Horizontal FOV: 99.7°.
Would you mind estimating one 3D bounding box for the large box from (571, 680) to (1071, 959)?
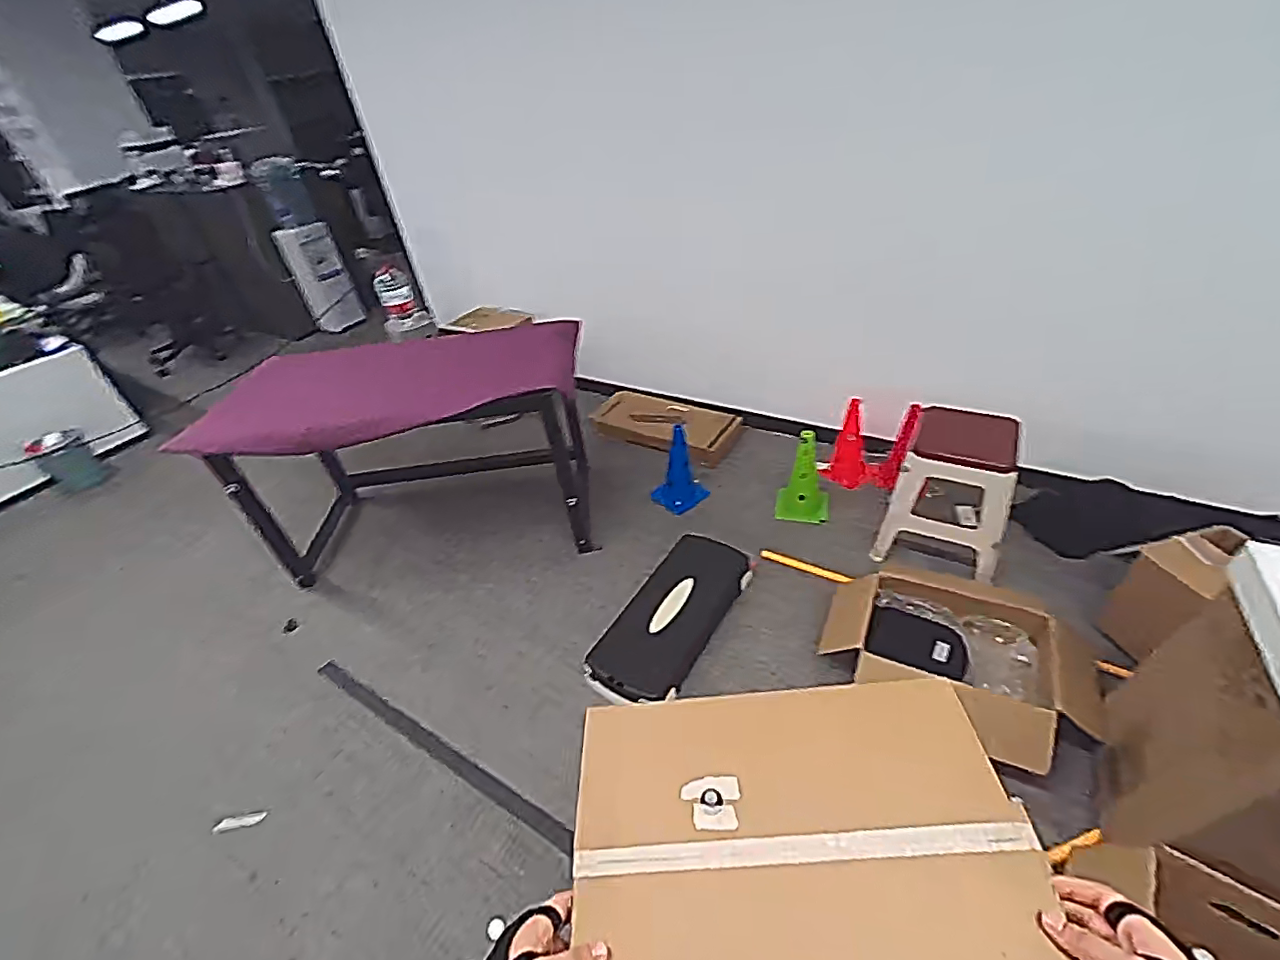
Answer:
[{"bbox_3d":[0.163,0.461,0.588,0.408,0.320,0.320,-9,37,6],"label":"large box"}]
